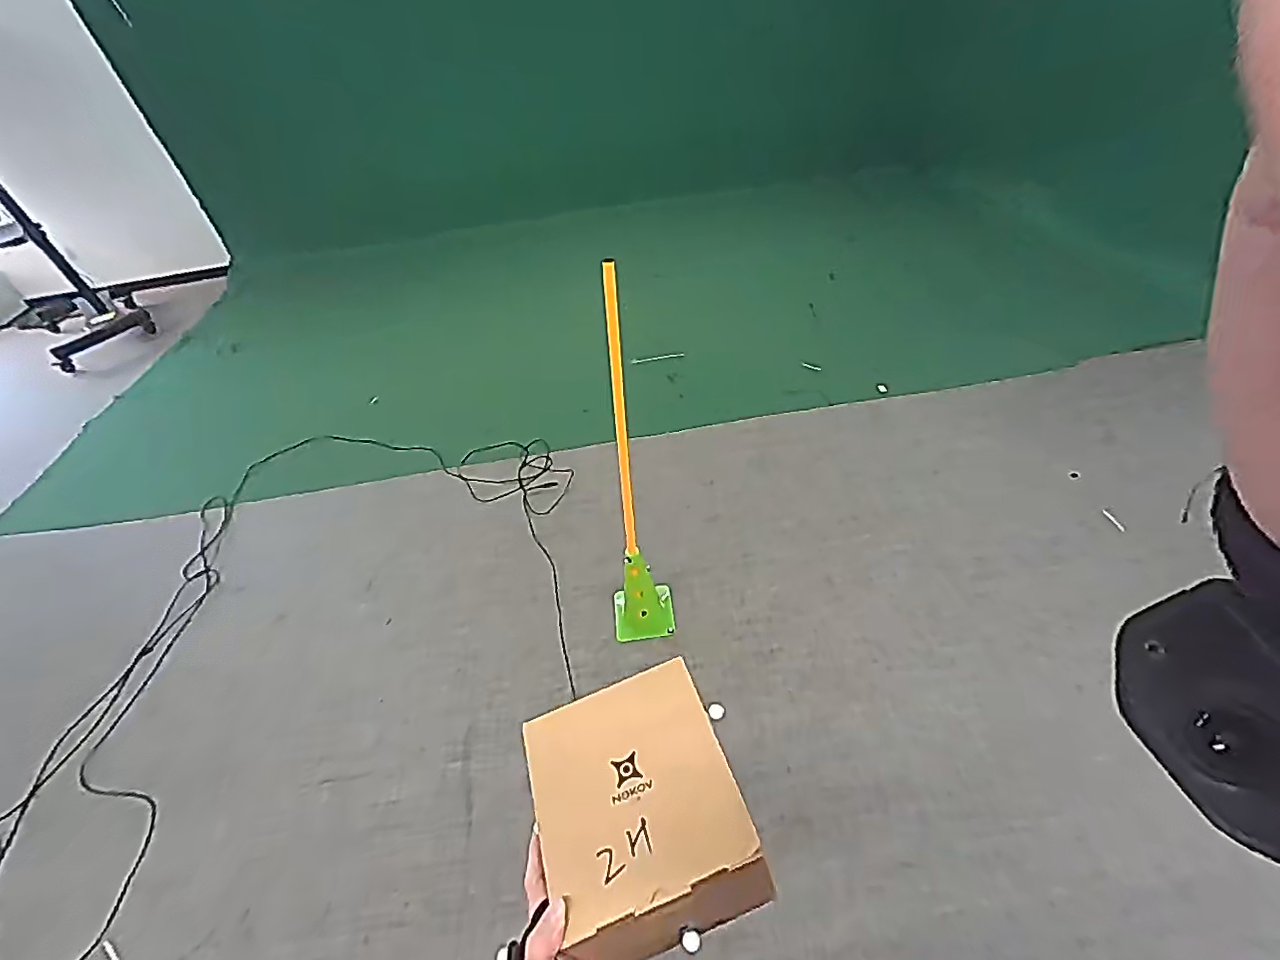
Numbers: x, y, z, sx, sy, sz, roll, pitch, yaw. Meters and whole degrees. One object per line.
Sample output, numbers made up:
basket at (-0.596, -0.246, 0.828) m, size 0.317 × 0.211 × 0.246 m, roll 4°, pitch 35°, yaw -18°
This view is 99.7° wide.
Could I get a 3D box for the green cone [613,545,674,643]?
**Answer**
green cone at (-0.014, 0.334, 1.734) m, size 0.202 × 0.368 × 0.200 m, roll -9°, pitch 43°, yaw 1°
